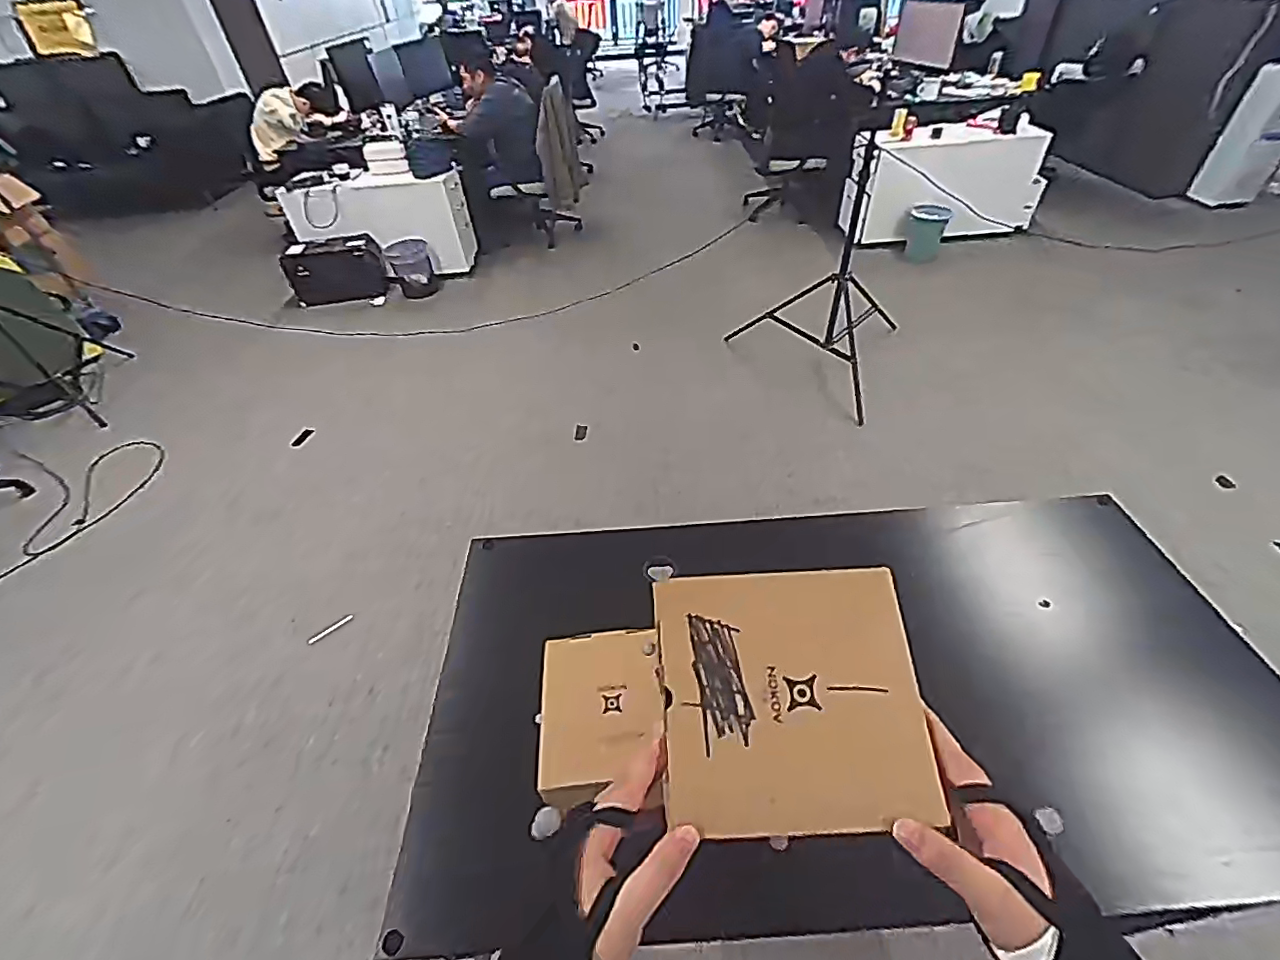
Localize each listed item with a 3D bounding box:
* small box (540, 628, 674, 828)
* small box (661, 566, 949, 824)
[{"bbox_3d":[-0.026,0.313,0.686,0.168,0.176,0.179,-7,45,-1],"label":"small box"},{"bbox_3d":[0.109,0.175,0.445,0.179,0.176,0.168,-3,66,1],"label":"small box"}]
